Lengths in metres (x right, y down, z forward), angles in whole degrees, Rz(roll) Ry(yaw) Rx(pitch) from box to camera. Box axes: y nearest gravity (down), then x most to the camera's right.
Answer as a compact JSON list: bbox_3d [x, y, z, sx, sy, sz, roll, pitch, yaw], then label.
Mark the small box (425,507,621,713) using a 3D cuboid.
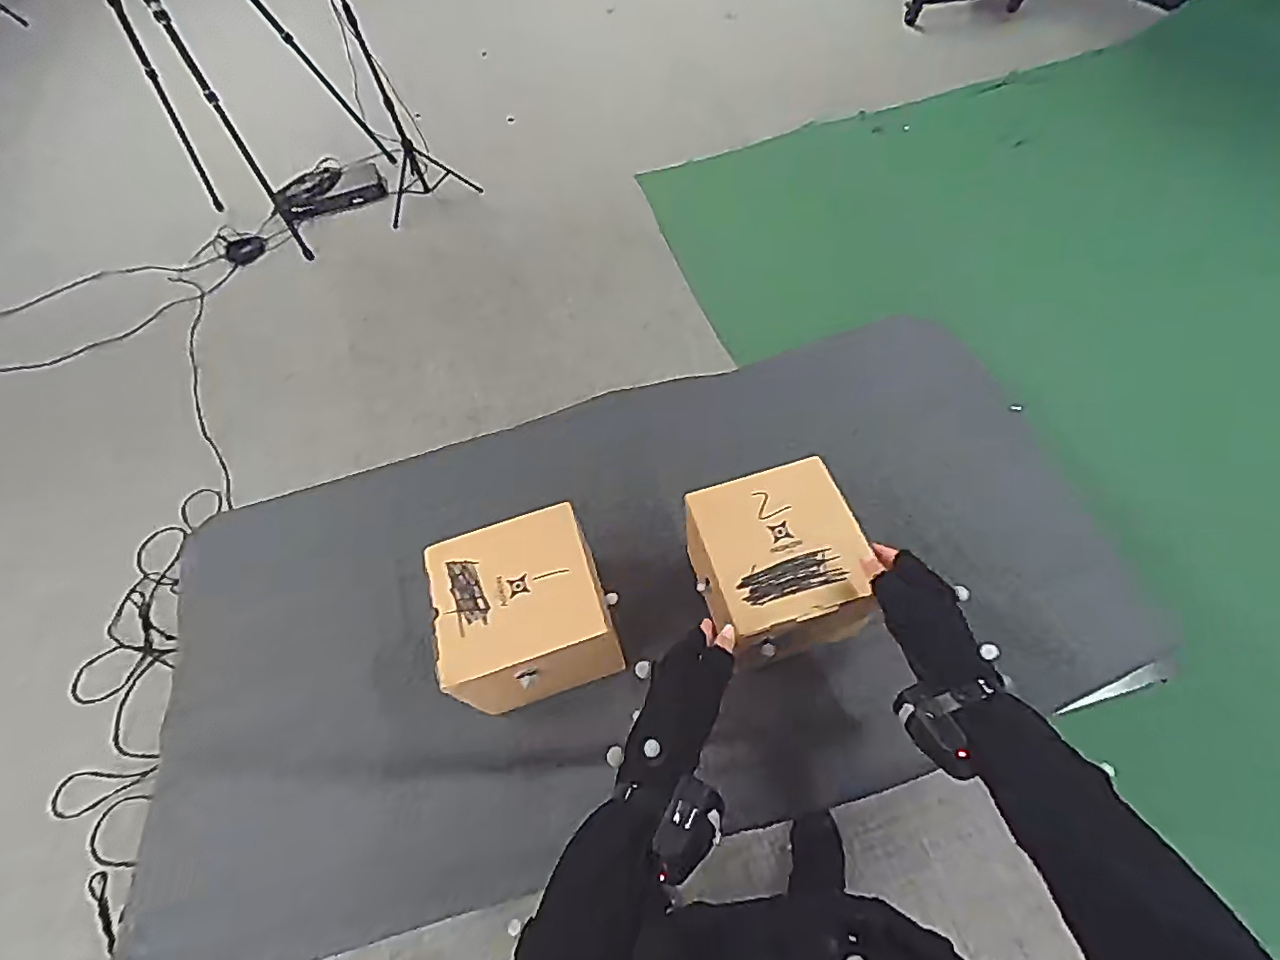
[{"bbox_3d":[-0.135,0.164,0.652,0.179,0.176,0.168,-18,58,-5],"label":"small box"}]
